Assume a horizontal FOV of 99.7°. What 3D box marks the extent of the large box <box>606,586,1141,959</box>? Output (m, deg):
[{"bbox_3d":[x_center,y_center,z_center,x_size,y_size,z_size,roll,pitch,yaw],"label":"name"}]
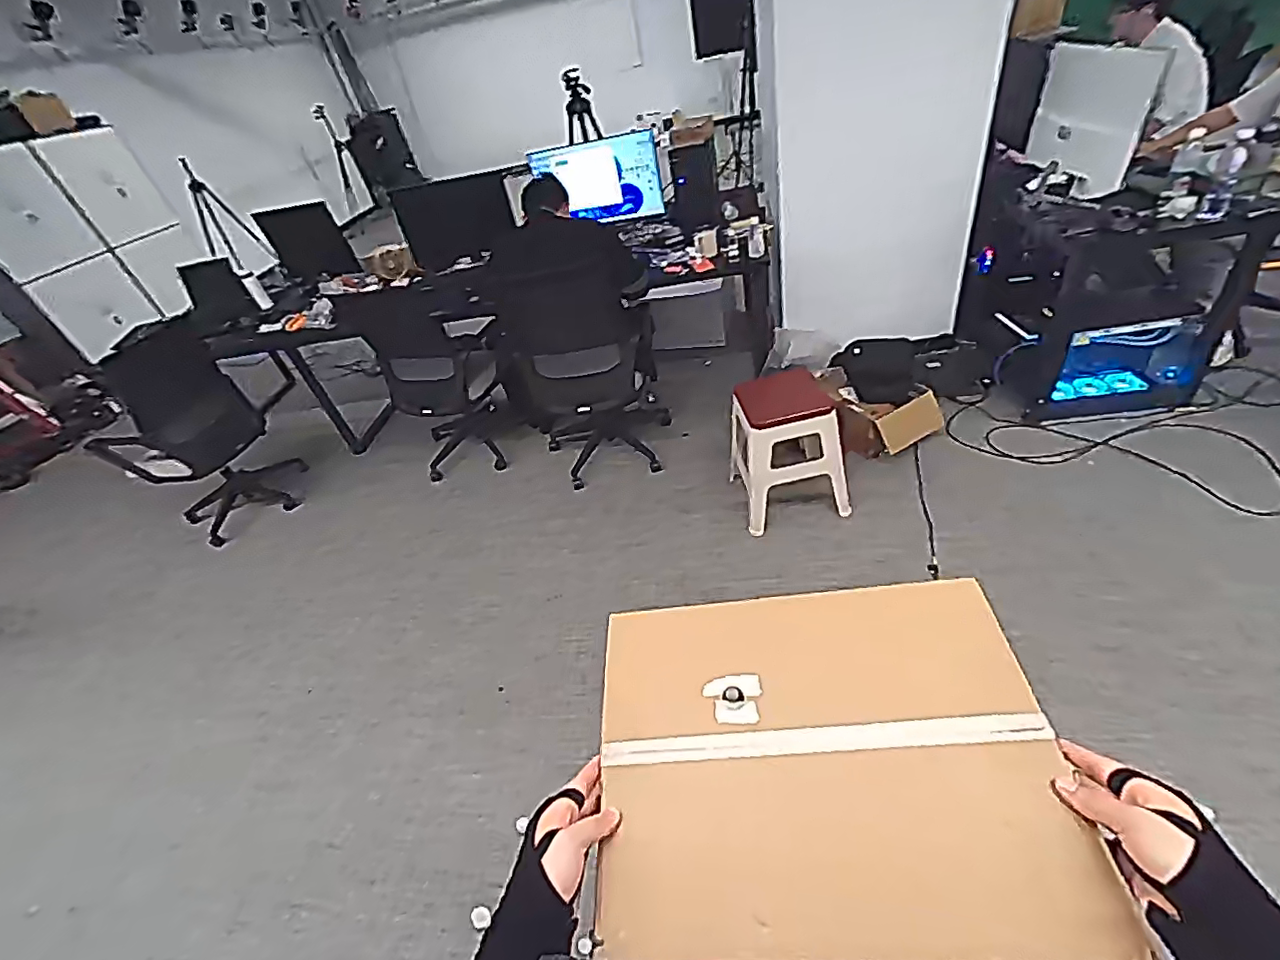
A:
[{"bbox_3d":[0.199,0.356,0.619,0.408,0.320,0.320,-9,45,10],"label":"large box"}]
